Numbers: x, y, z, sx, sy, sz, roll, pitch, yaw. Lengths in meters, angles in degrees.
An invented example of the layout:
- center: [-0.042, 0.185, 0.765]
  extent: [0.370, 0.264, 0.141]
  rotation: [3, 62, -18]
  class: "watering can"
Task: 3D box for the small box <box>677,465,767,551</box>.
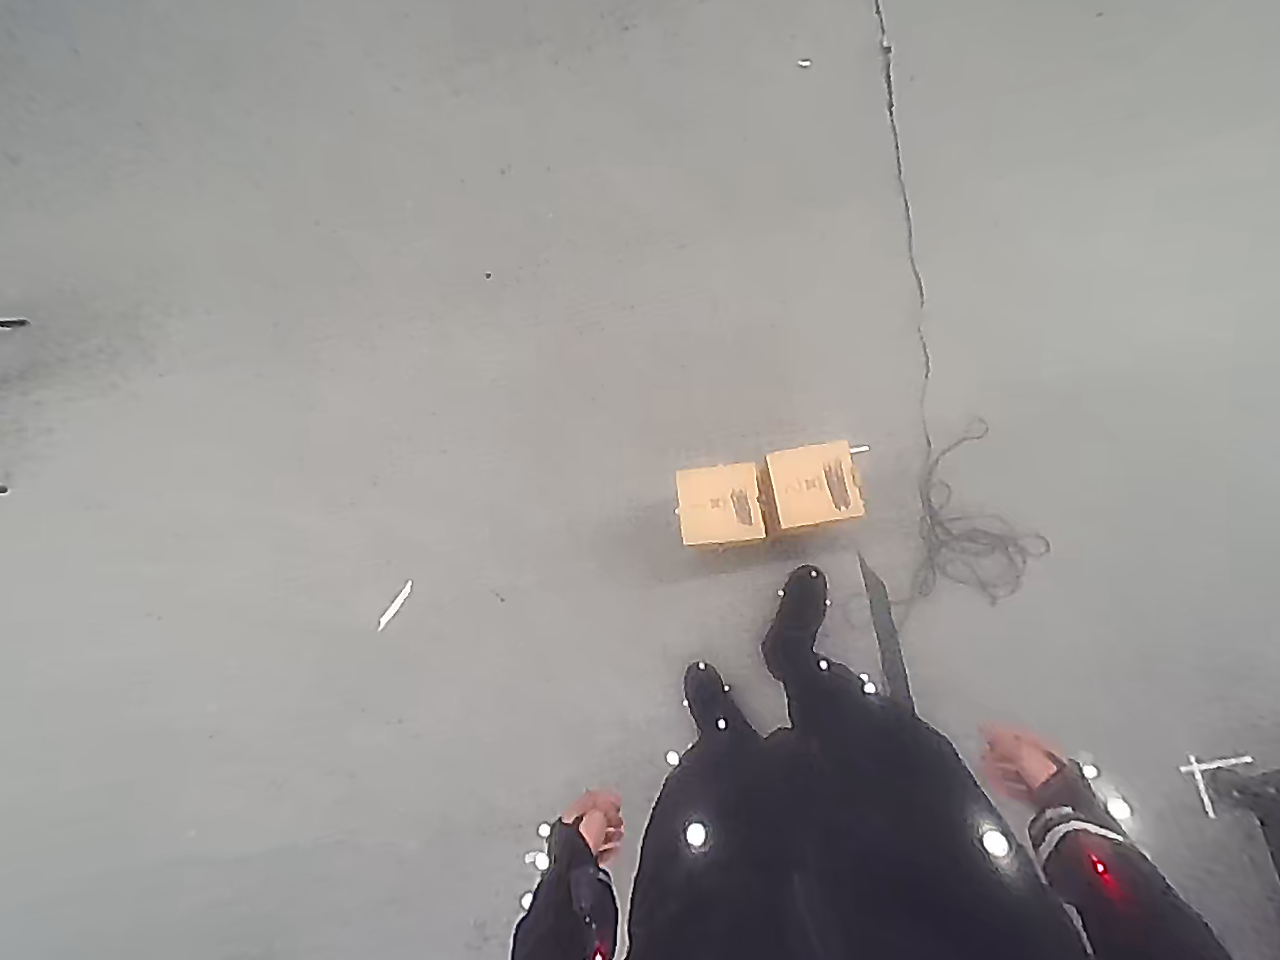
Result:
- center: [0.183, 0.068, 1.219]
  extent: [0.179, 0.176, 0.168]
  rotation: [-8, 79, 9]
  class: "small box"
